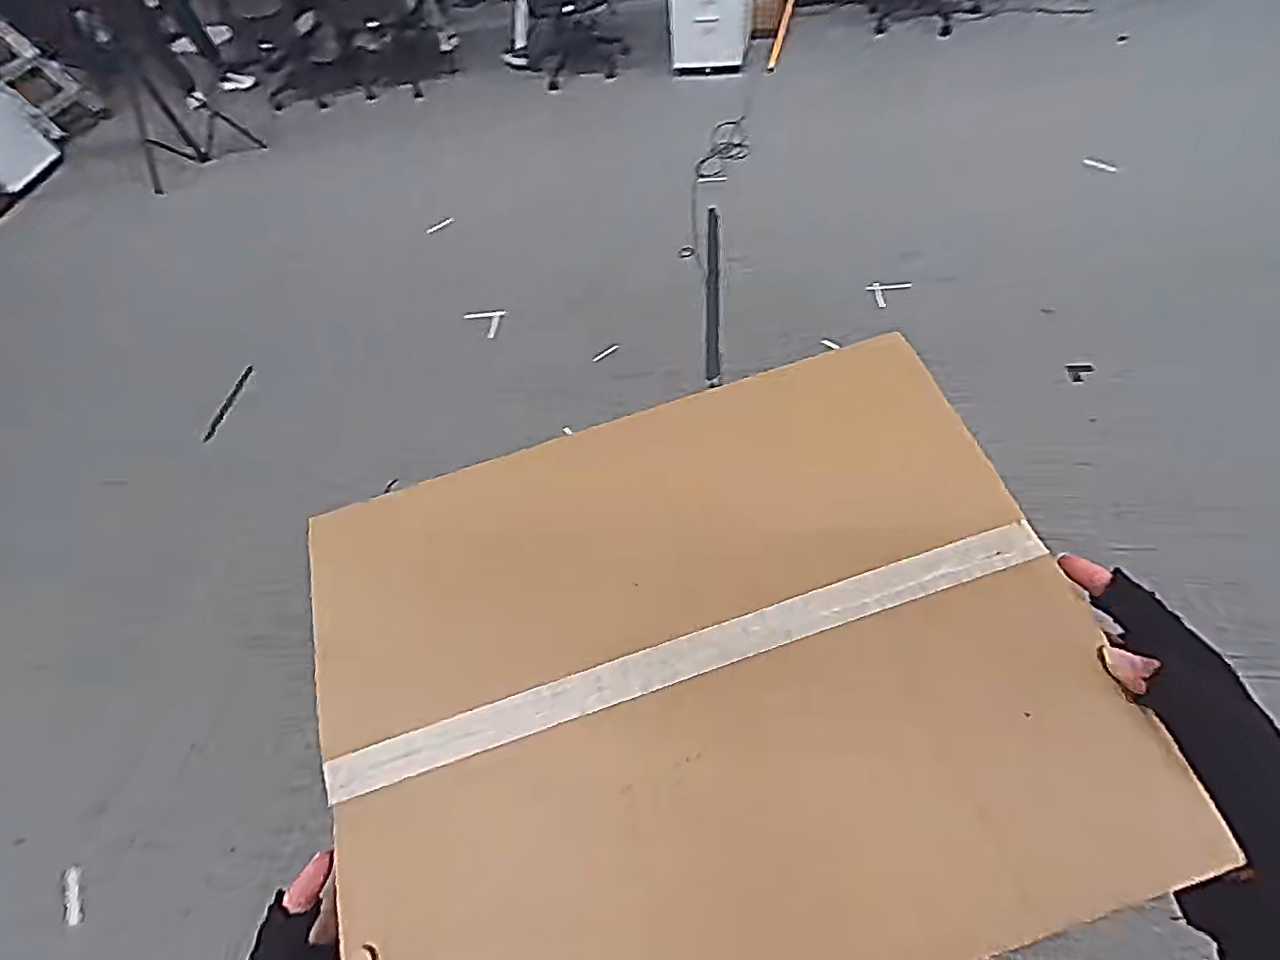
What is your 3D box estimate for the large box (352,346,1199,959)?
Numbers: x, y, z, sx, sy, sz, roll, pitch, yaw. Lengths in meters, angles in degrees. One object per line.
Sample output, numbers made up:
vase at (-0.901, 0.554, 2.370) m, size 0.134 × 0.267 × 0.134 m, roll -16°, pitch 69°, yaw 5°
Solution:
large box at (0.050, 0.157, 0.445) m, size 0.408 × 0.320 × 0.320 m, roll -18°, pitch 67°, yaw -2°
